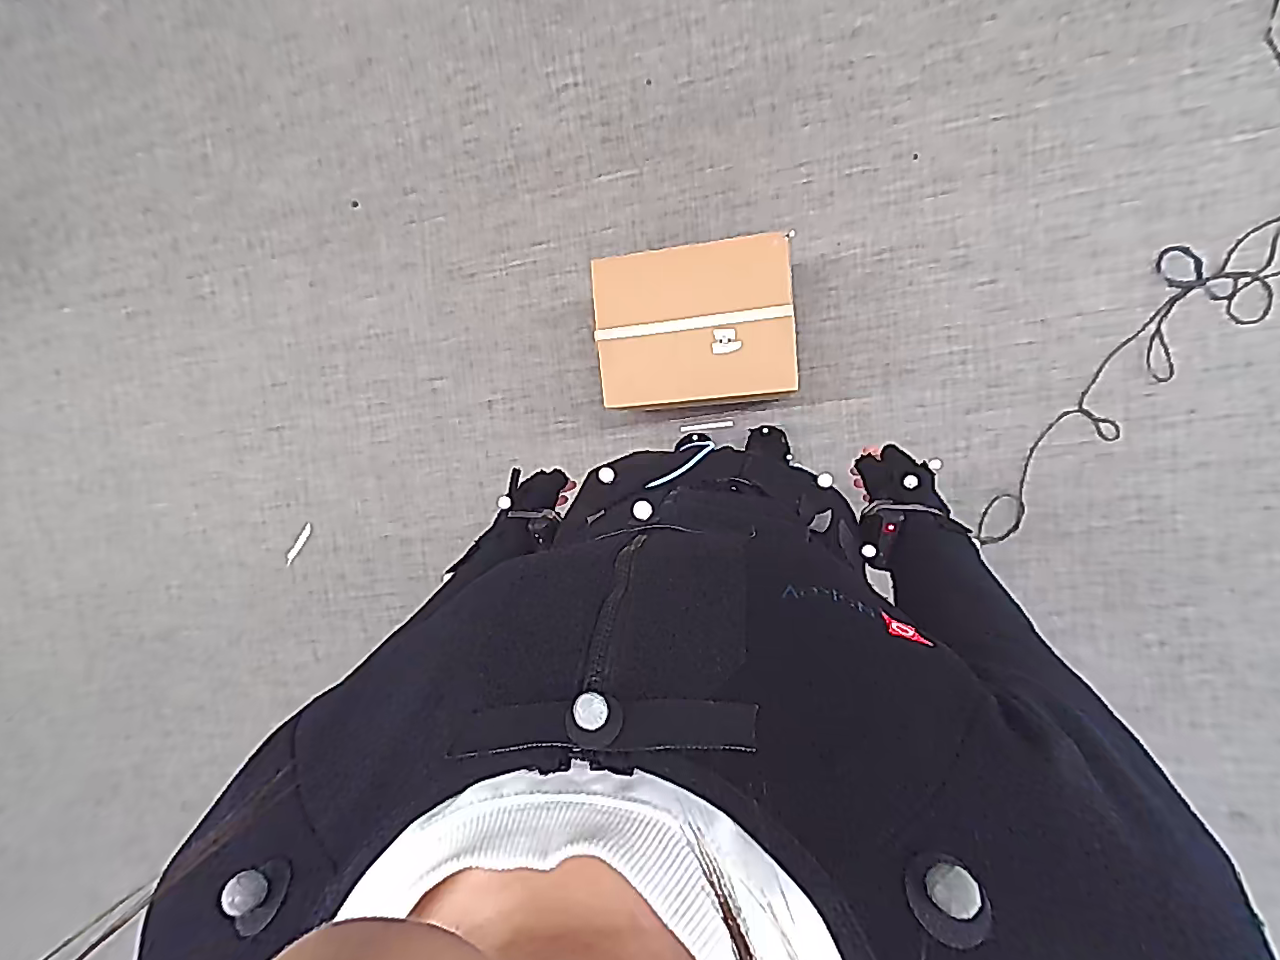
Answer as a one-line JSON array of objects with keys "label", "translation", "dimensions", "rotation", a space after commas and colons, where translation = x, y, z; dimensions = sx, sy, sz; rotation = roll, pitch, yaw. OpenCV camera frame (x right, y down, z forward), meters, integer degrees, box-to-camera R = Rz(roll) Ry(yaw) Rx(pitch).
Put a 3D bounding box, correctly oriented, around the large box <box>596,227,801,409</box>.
[{"label": "large box", "translation": [0.140, -0.343, 1.252], "dimensions": [0.408, 0.320, 0.320], "rotation": [-4, 96, 11]}]
